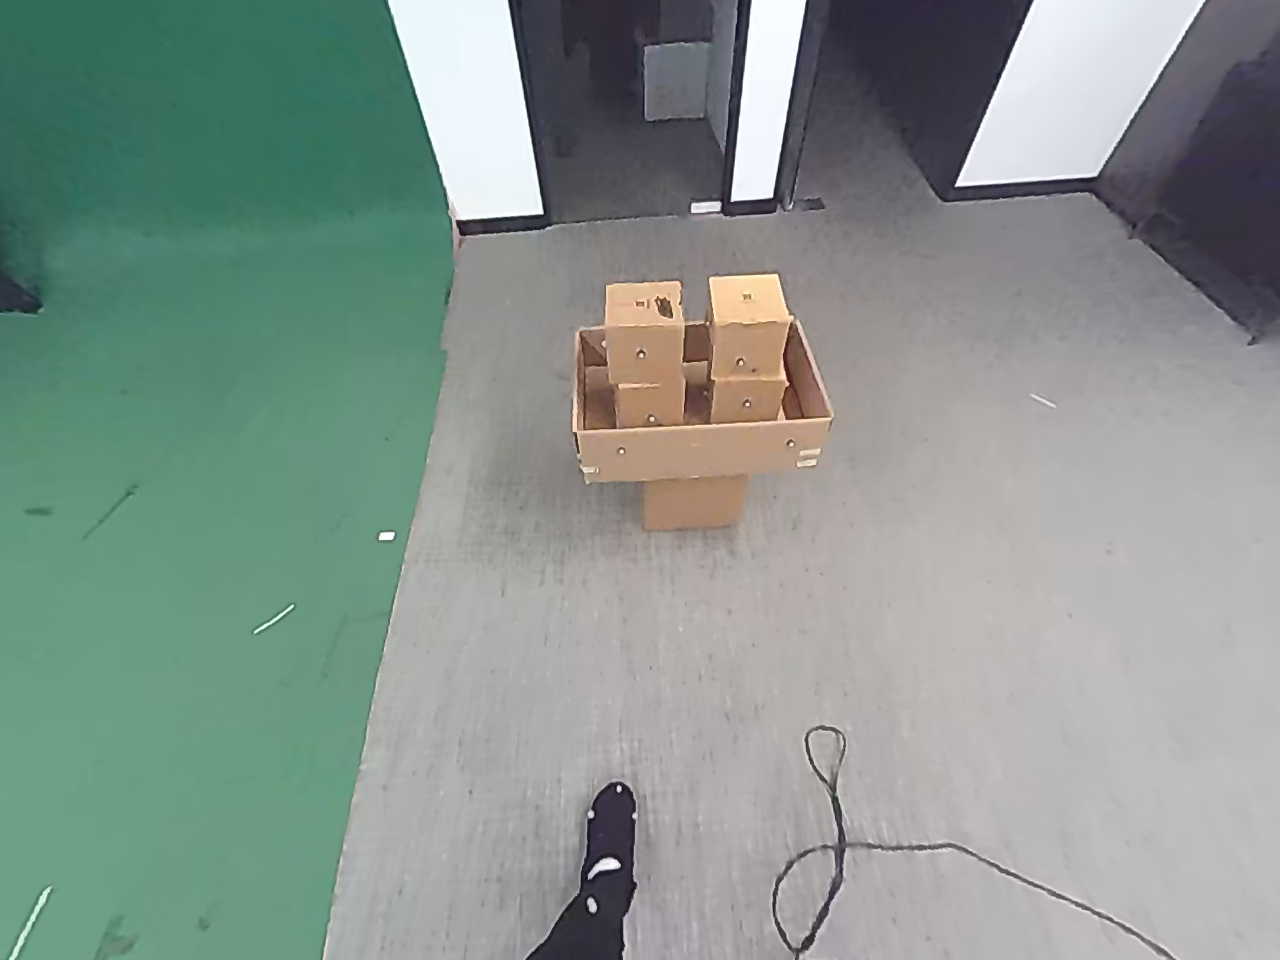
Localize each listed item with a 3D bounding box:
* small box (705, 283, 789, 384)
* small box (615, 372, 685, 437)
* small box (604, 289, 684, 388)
[{"bbox_3d":[0.247,-0.350,1.295,0.168,0.176,0.179,-2,53,1],"label":"small box"},{"bbox_3d":[0.020,-0.235,1.416,0.168,0.176,0.179,-6,53,-3],"label":"small box"},{"bbox_3d":[0.012,-0.333,1.284,0.179,0.176,0.168,-1,52,2],"label":"small box"}]
